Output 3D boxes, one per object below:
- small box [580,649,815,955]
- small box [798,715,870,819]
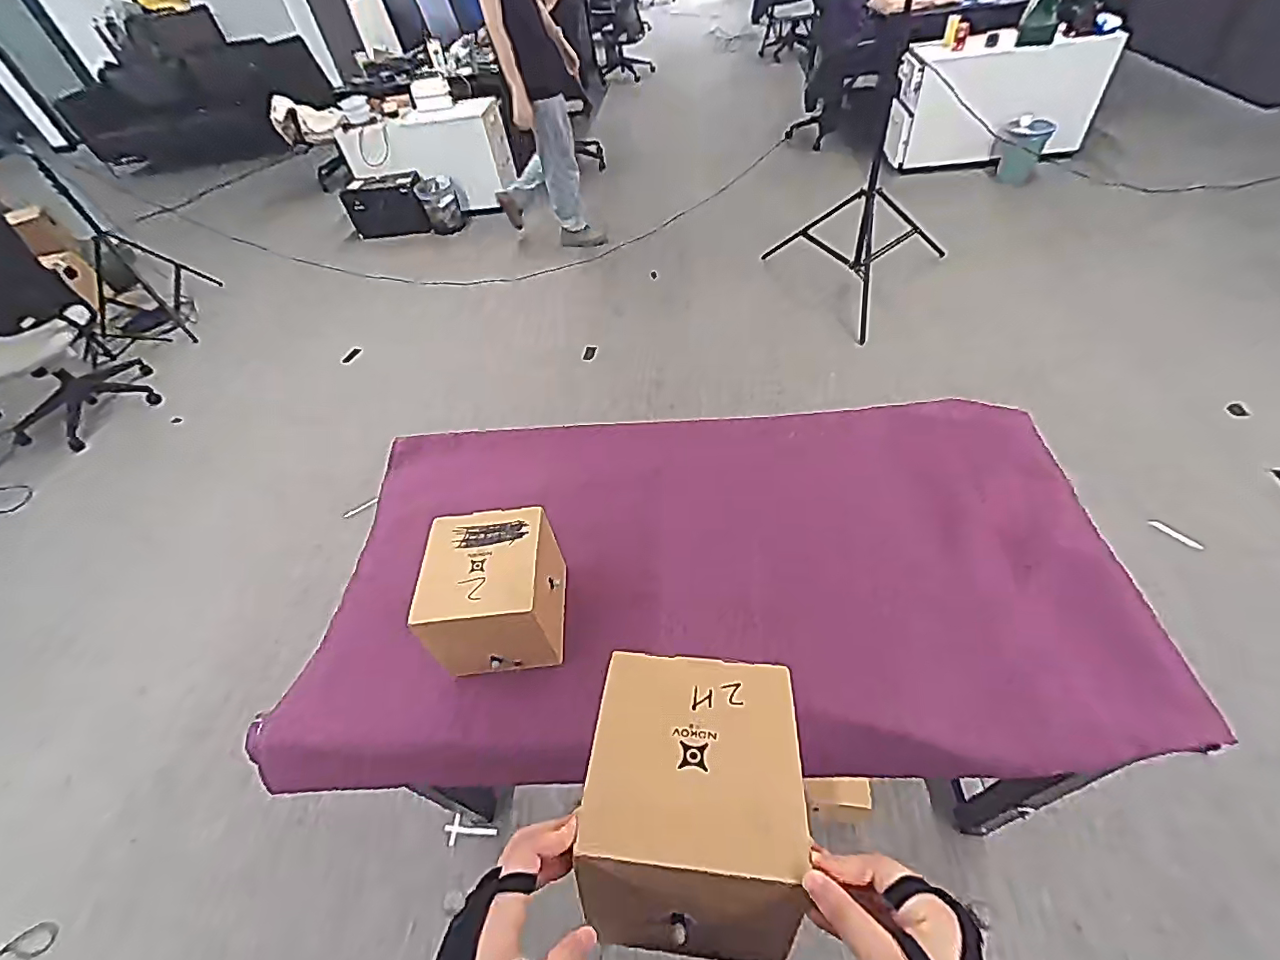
[{"bbox_3d":[0.051,0.280,0.480,0.168,0.176,0.179,3,33,6],"label":"small box"},{"bbox_3d":[0.420,0.664,1.247,0.168,0.176,0.179,1,48,10],"label":"small box"}]
